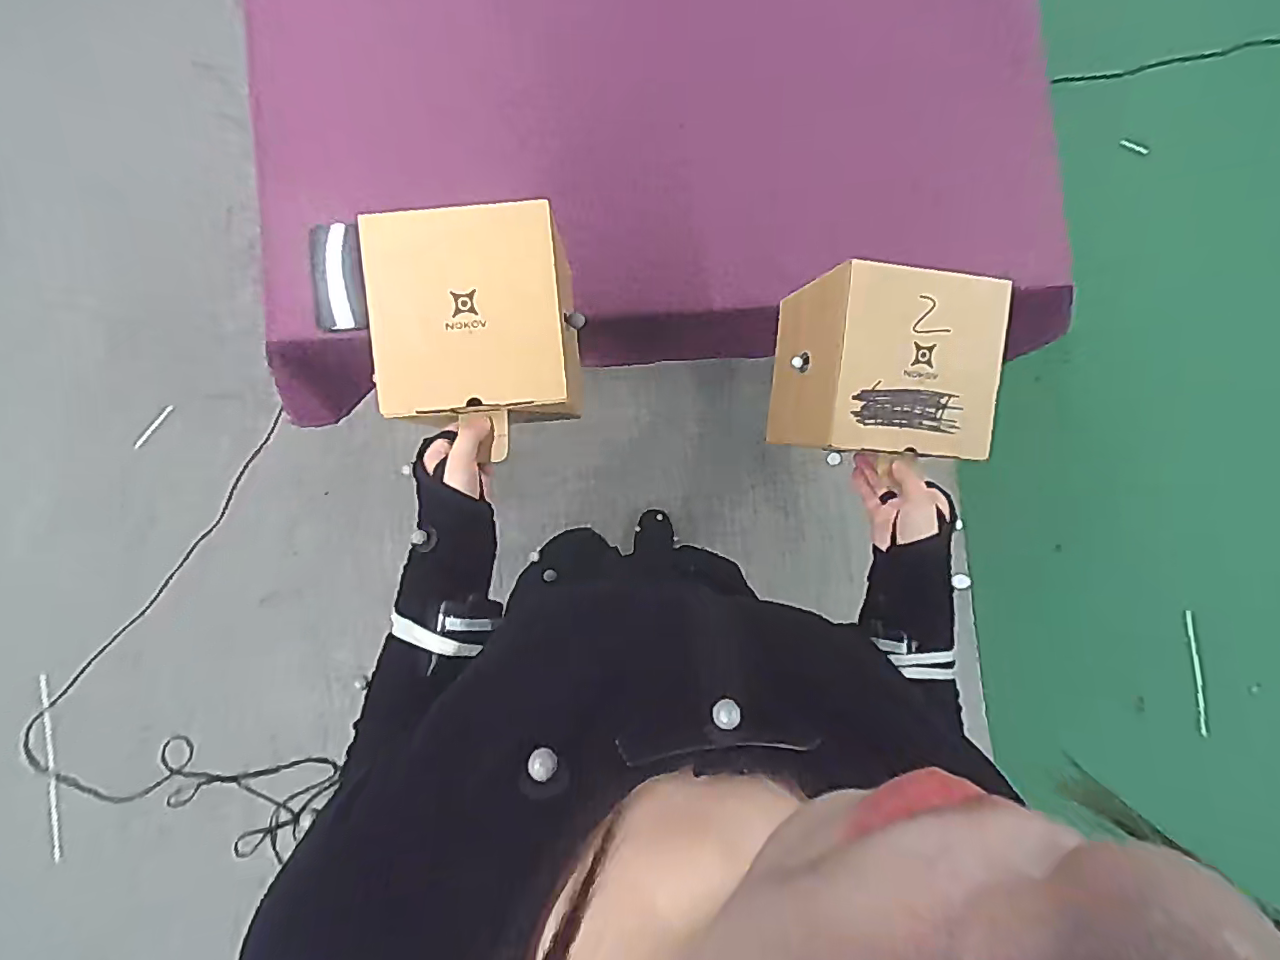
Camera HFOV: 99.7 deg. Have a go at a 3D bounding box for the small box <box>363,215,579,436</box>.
[{"bbox_3d":[-0.157,-0.143,0.557,0.168,0.176,0.179,-6,93,-1],"label":"small box"}]
